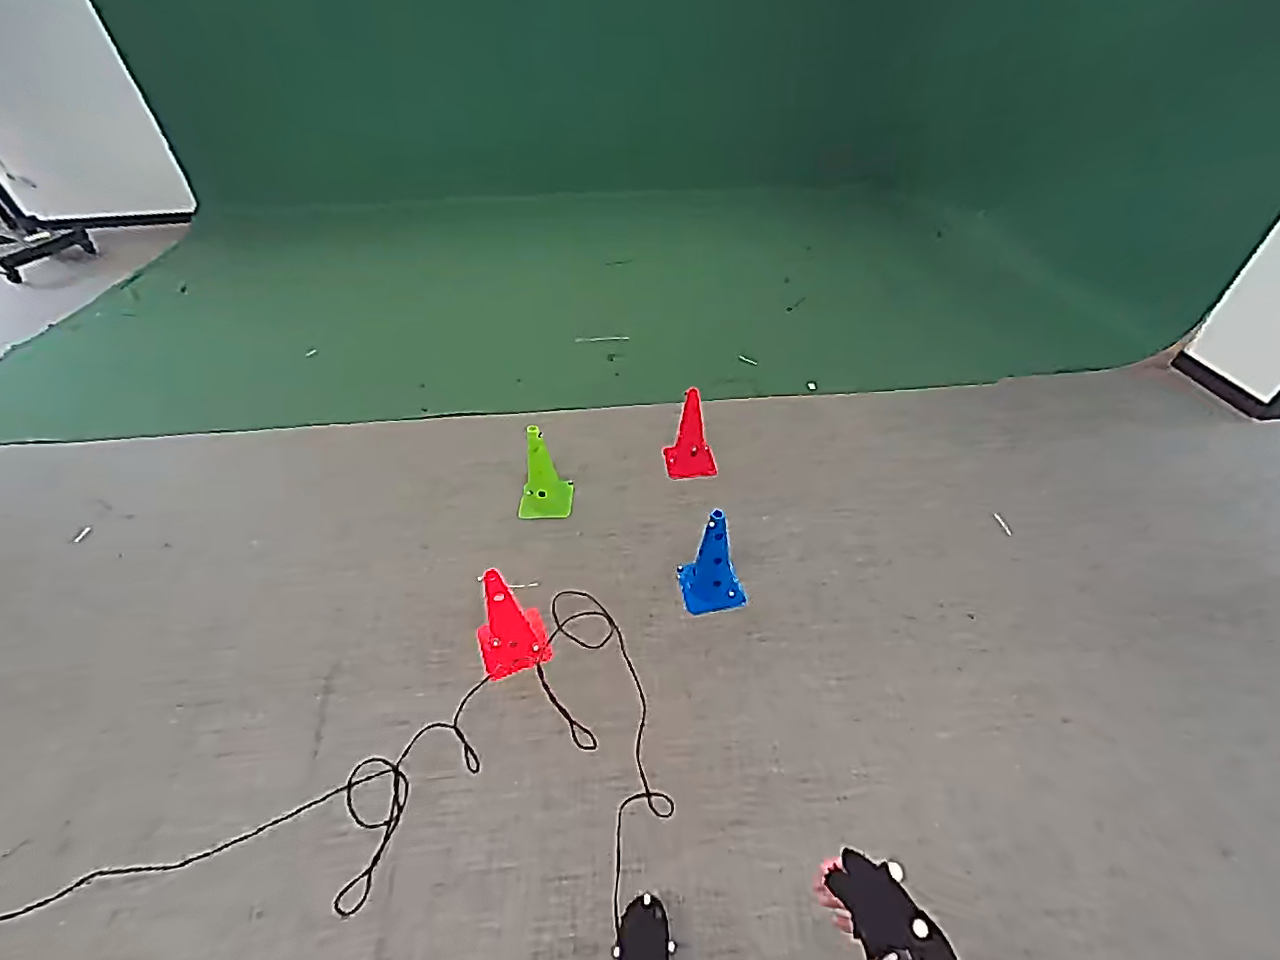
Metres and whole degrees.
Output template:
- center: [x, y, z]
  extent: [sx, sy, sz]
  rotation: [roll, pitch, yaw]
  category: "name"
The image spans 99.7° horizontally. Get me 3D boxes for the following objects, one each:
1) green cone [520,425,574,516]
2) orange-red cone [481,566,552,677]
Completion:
- center: [-0.369, -0.056, 2.009]
  extent: [0.200, 0.368, 0.202]
  rotation: [-3, 44, 0]
  category: "green cone"
- center: [-0.388, 0.374, 1.561]
  extent: [0.198, 0.360, 0.199]
  rotation: [-16, 44, -16]
  category: "orange-red cone"
